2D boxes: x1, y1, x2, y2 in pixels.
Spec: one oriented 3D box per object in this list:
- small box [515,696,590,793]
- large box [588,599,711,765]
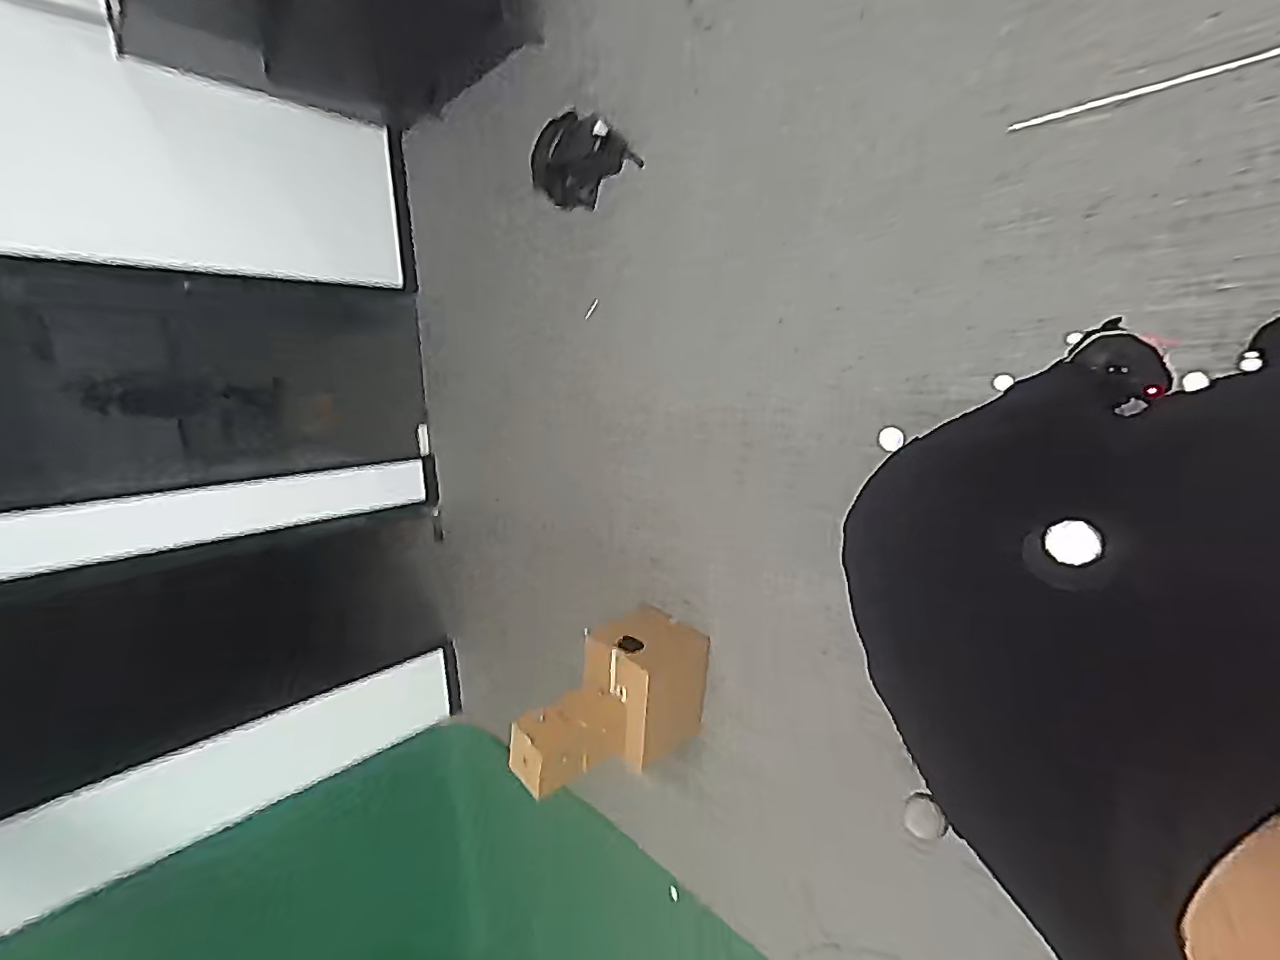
[{"bbox_3d":[-0.270,0.812,1.680,0.168,0.176,0.179,25,117,41],"label":"small box"},{"bbox_3d":[0.032,0.700,1.935,0.320,0.320,0.408,18,111,41],"label":"large box"}]
